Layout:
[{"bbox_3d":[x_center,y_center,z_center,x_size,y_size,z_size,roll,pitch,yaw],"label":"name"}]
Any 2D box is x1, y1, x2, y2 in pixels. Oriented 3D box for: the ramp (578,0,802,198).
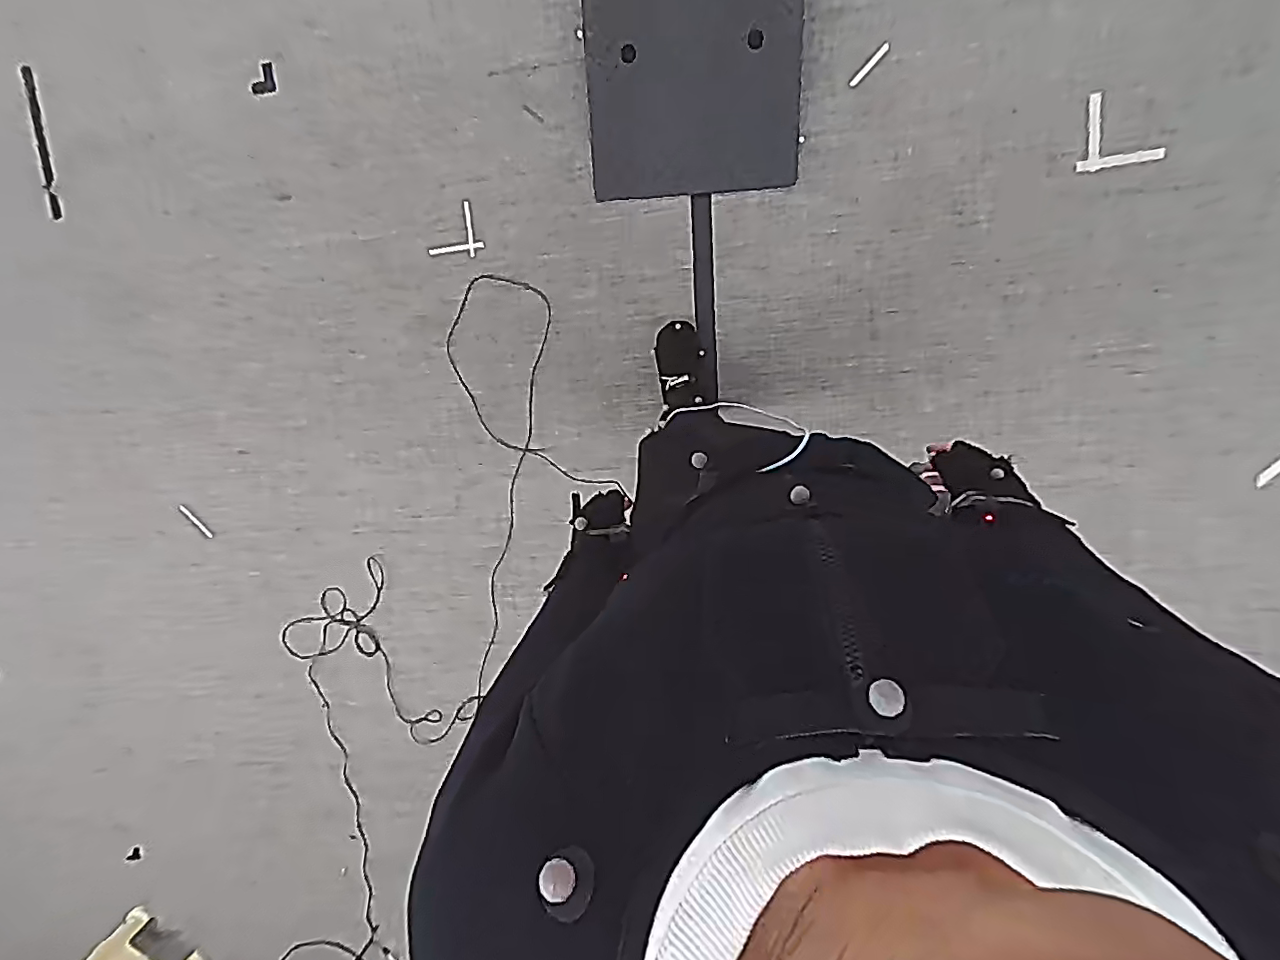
[{"bbox_3d":[0.099,-1.171,1.143,0.509,0.206,0.991,-2,101,7],"label":"ramp"}]
